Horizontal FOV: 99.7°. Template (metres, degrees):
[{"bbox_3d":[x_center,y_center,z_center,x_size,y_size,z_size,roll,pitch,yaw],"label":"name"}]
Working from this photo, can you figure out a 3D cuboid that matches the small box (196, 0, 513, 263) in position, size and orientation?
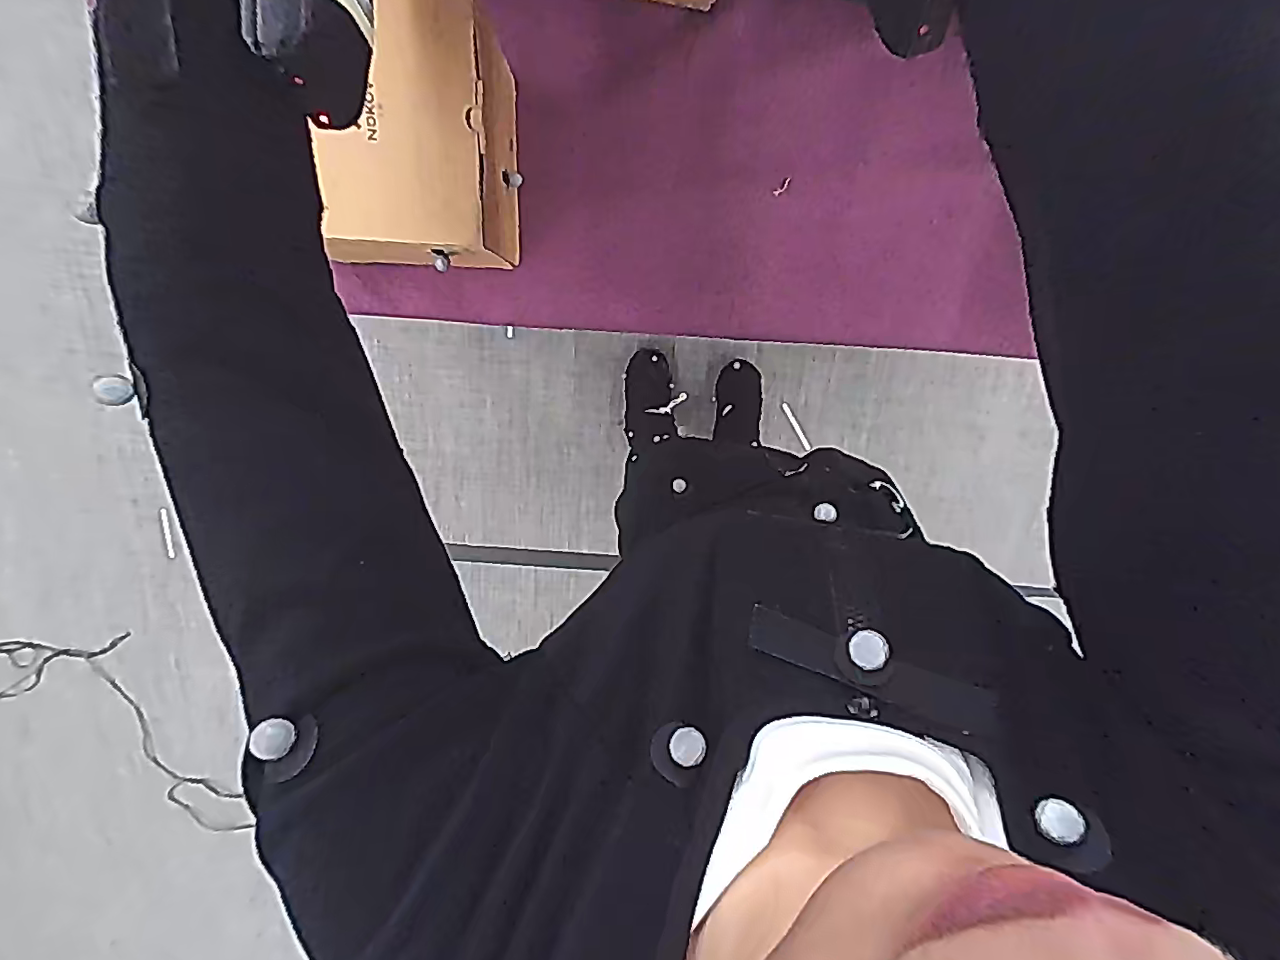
[{"bbox_3d":[-0.207,-0.276,0.446,0.179,0.176,0.168,0,107,-5],"label":"small box"}]
